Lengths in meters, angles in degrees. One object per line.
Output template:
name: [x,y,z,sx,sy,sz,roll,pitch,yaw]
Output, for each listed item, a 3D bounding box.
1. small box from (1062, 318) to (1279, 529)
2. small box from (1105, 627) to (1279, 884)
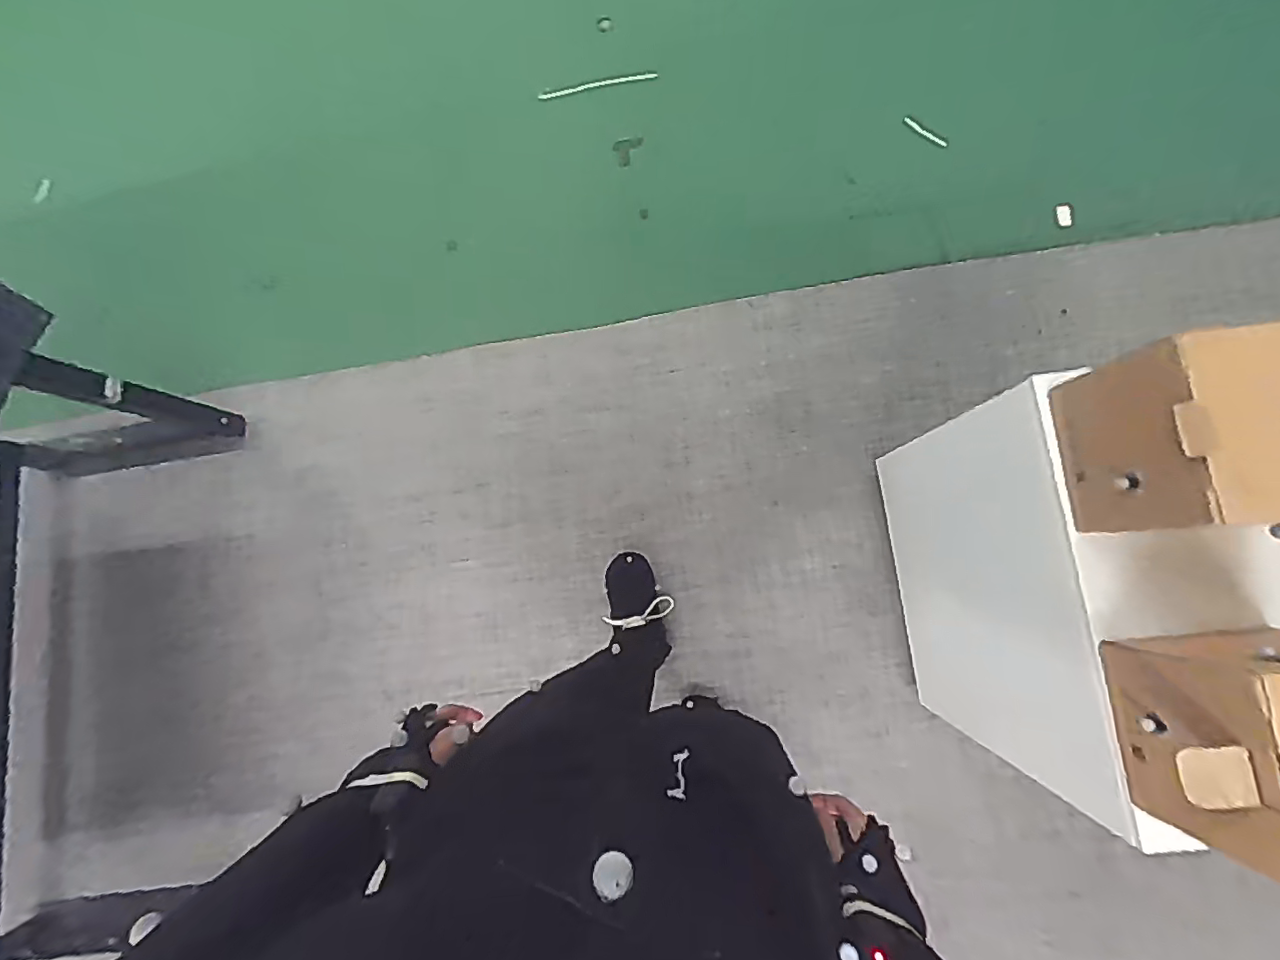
small box: [0.545,-0.044,0.513,0.179,0.176,0.168,-6,83,3]
small box: [0.572,0.228,0.472,0.179,0.176,0.168,-7,81,5]
